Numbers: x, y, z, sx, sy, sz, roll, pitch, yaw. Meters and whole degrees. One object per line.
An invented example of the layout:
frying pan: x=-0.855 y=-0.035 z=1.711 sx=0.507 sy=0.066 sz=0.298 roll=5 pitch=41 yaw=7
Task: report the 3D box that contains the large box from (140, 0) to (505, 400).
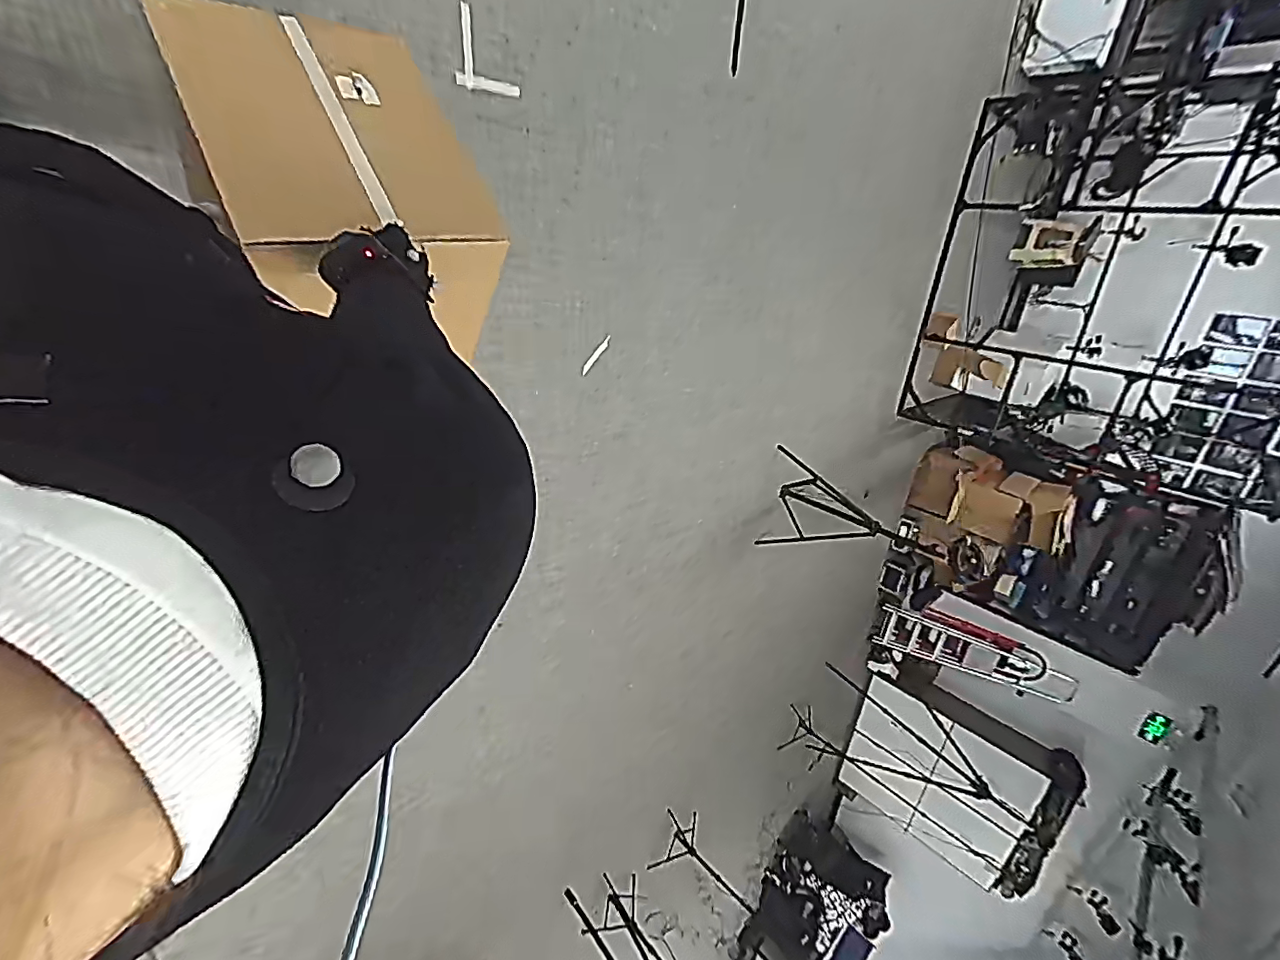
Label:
large box: x=-0.463 y=-0.391 z=0.820 sx=0.320 sy=0.408 sz=0.320 roll=-20 pitch=165 yaw=-38
